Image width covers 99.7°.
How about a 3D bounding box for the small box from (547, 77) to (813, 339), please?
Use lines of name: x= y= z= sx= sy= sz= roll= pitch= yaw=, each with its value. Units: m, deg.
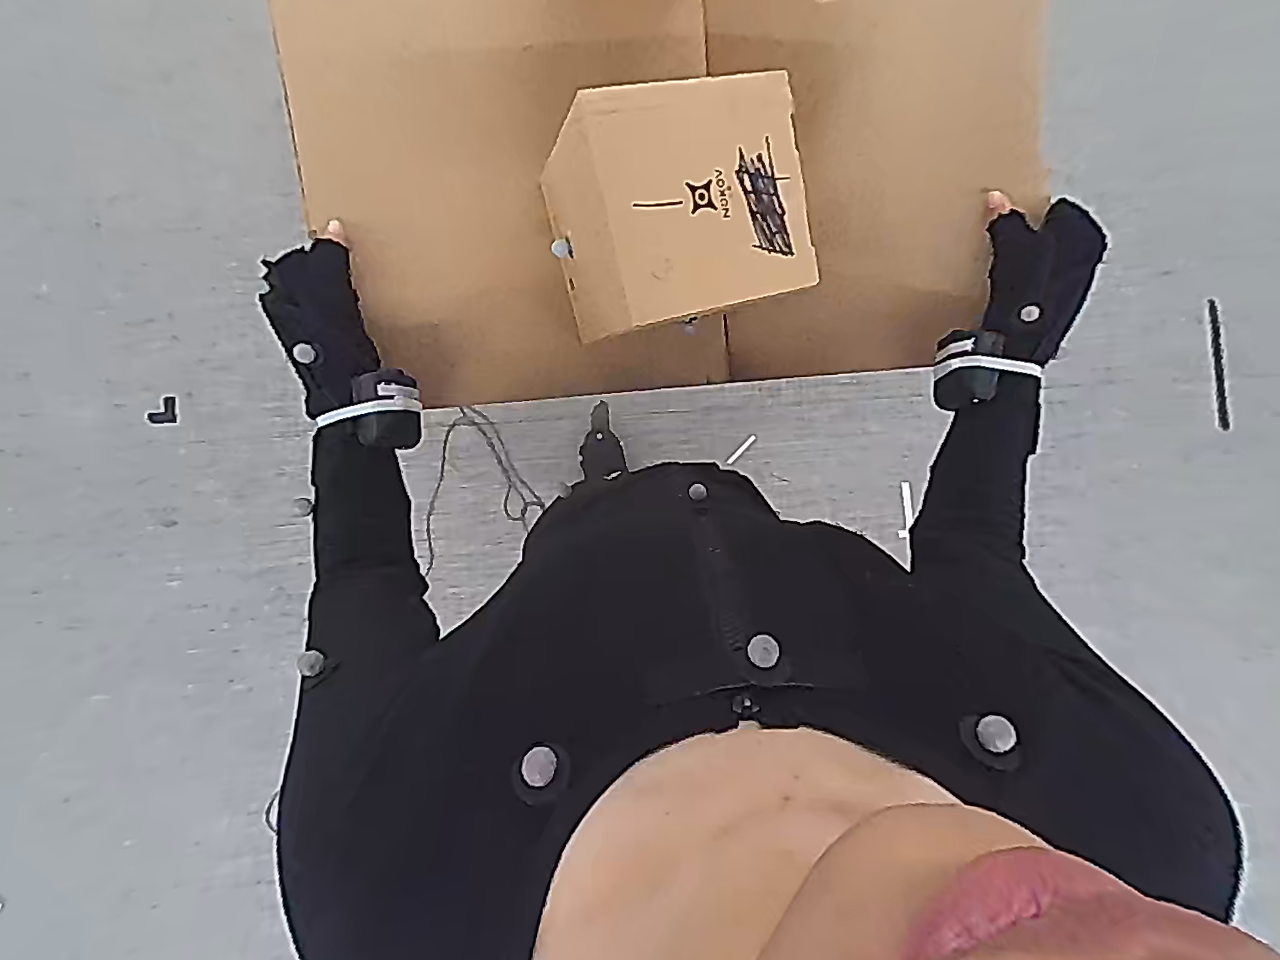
small box: x=0.028 y=-0.235 z=0.503 sx=0.179 sy=0.176 sz=0.168 roll=-17 pitch=103 yaw=-16
